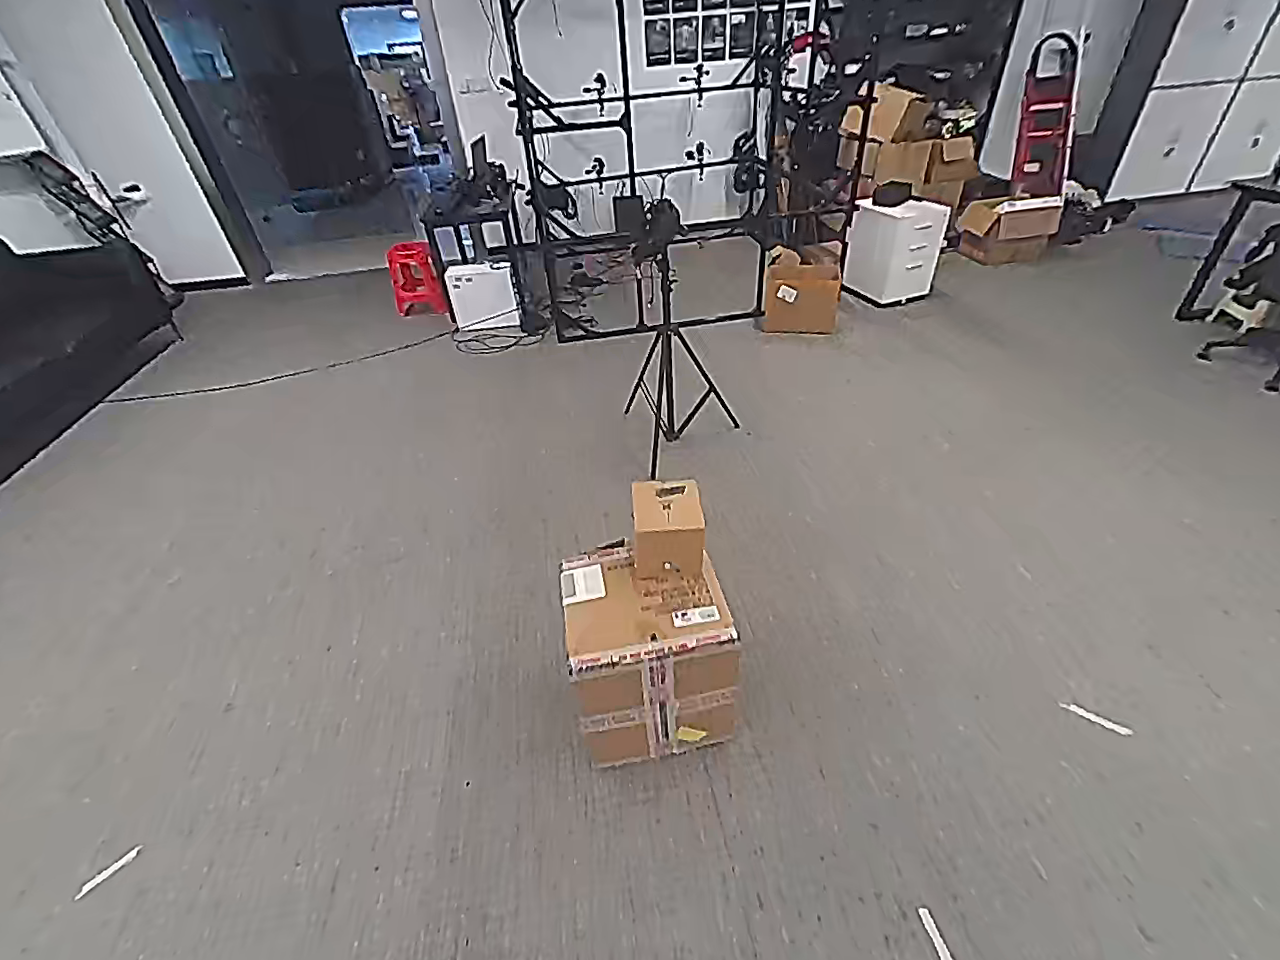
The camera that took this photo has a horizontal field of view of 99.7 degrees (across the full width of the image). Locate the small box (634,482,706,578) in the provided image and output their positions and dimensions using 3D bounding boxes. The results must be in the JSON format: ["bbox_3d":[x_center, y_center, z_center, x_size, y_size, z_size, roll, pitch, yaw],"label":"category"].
[{"bbox_3d":[0.069,0.124,1.355,0.168,0.176,0.179,-3,41,-1],"label":"small box"}]
